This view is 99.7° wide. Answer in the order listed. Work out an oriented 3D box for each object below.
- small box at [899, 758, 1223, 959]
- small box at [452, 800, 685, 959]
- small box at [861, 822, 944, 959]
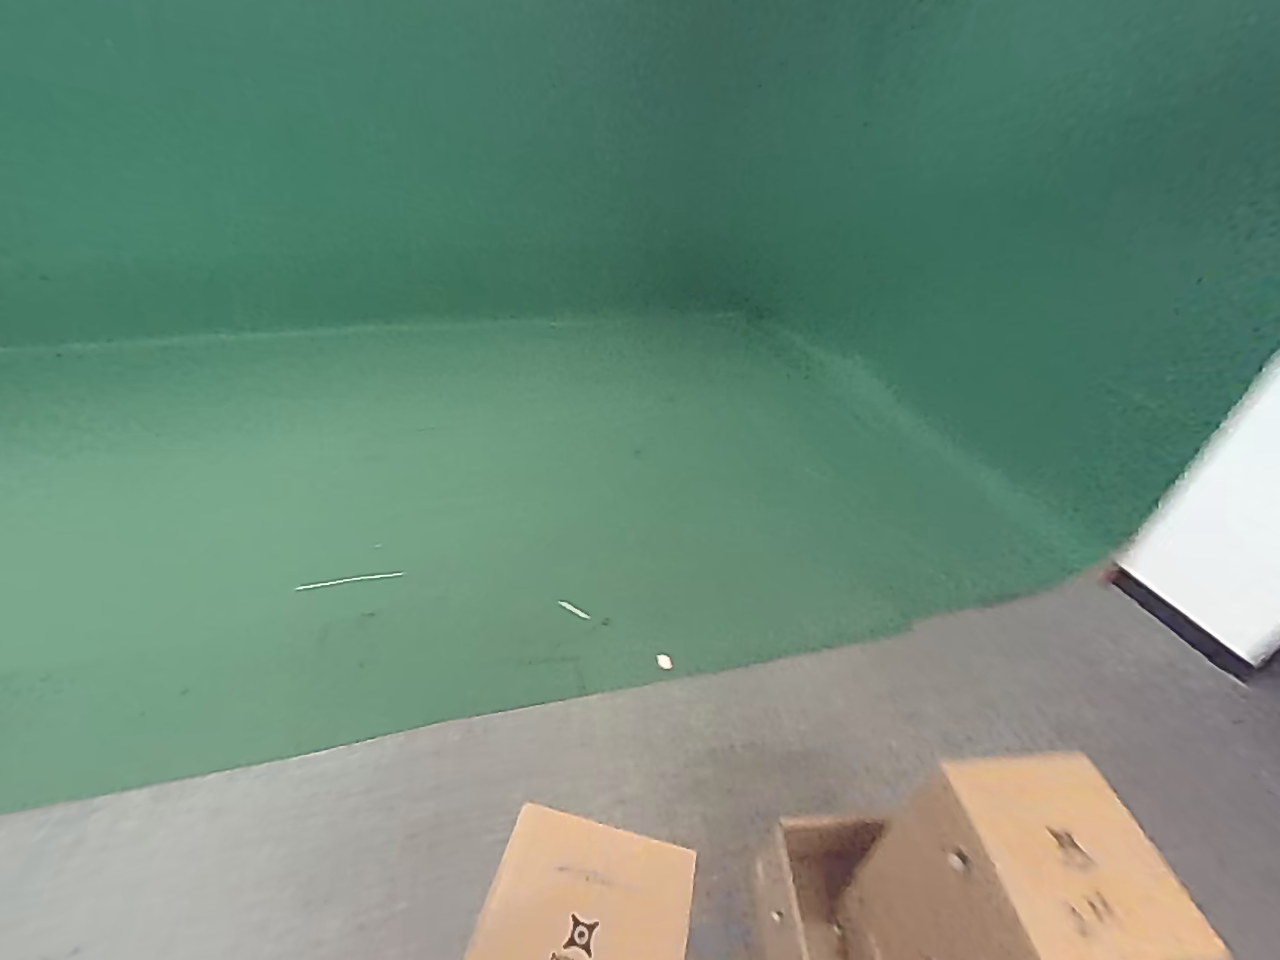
[{"bbox_3d":[0.402,0.418,0.562,0.168,0.176,0.179,-1,38,-4],"label":"small box"},{"bbox_3d":[-0.064,0.425,0.468,0.168,0.176,0.179,12,33,6],"label":"small box"},{"bbox_3d":[0.397,0.547,0.665,0.168,0.176,0.179,0,39,-4],"label":"small box"}]
